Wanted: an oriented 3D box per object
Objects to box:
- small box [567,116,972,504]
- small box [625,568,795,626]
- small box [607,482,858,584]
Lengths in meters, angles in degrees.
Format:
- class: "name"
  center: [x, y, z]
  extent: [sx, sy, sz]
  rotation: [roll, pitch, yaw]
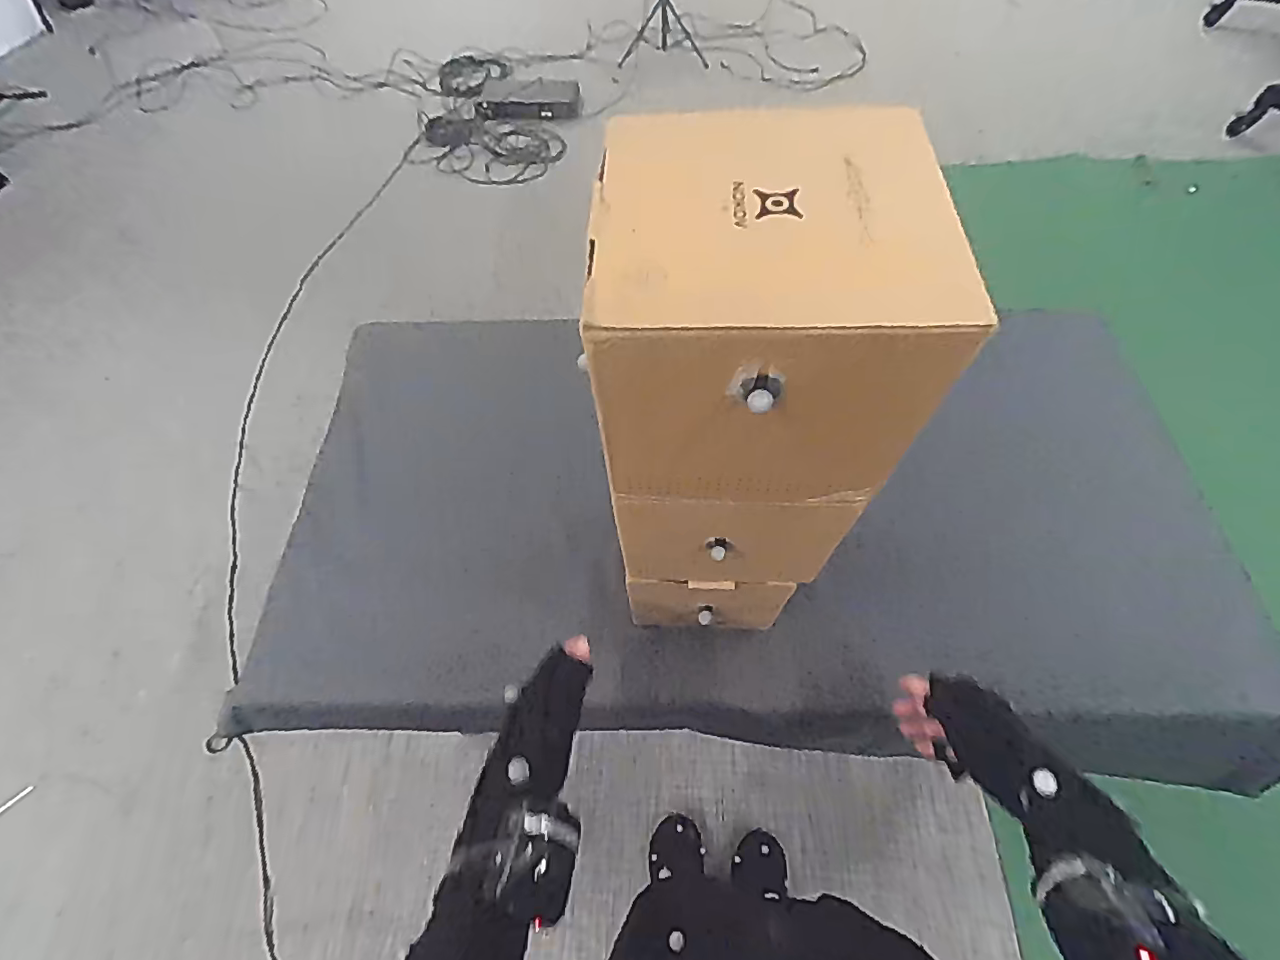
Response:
- class: "small box"
  center: [0.061, -0.092, 0.339]
  extent: [0.179, 0.176, 0.168]
  rotation: [-1, 62, 3]
- class: "small box"
  center: [0.076, 0.066, 0.625]
  extent: [0.168, 0.176, 0.179]
  rotation: [-1, 62, 4]
- class: "small box"
  center: [0.071, -0.012, 0.480]
  extent: [0.179, 0.176, 0.168]
  rotation: [-1, 60, 5]
